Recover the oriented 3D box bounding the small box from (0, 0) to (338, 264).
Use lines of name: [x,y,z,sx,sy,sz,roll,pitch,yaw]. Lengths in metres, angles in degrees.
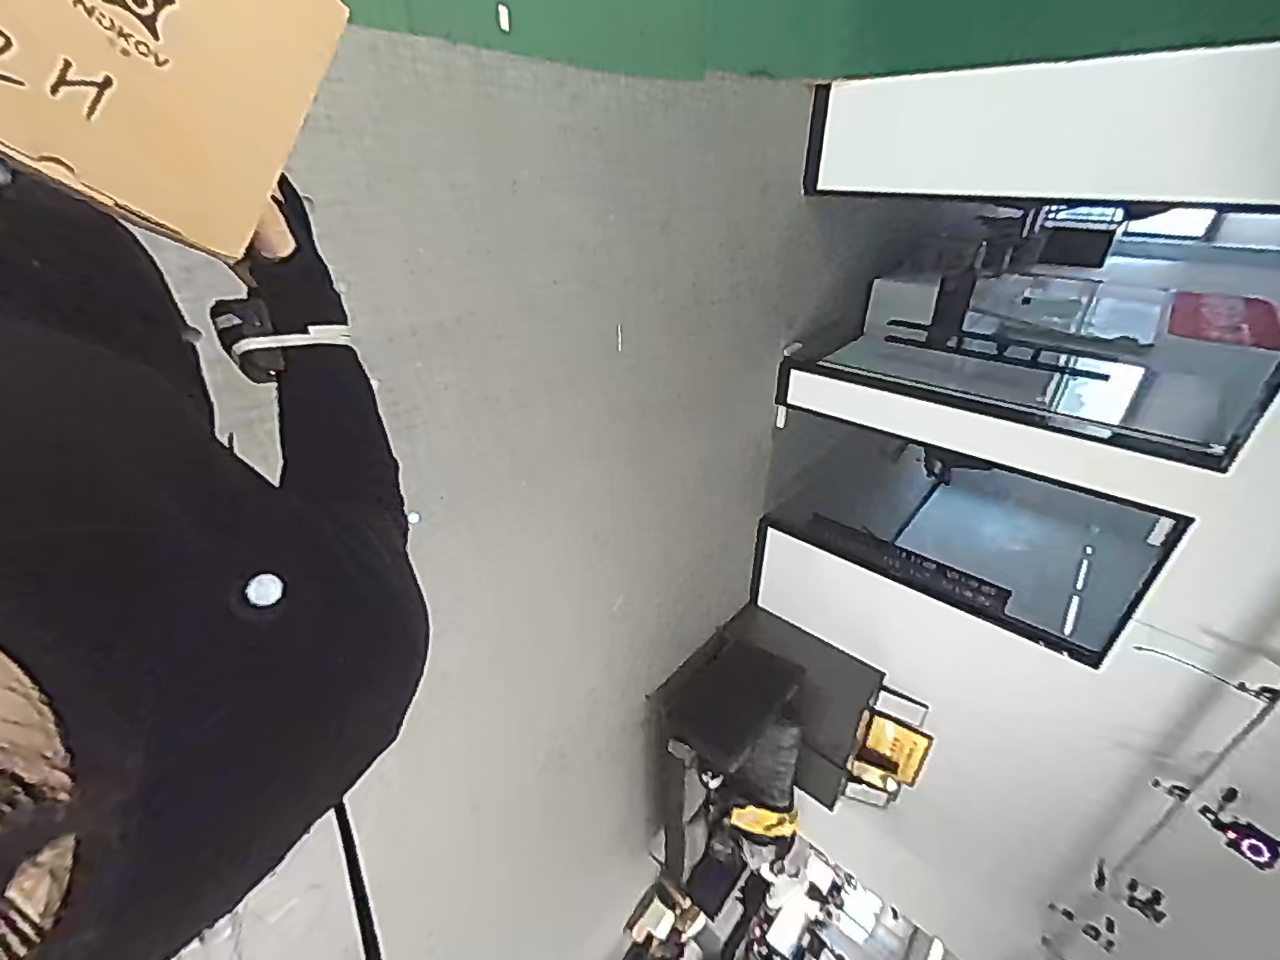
small box: [-0.321,-0.257,0.302,0.179,0.176,0.168,-65,153,-1]
